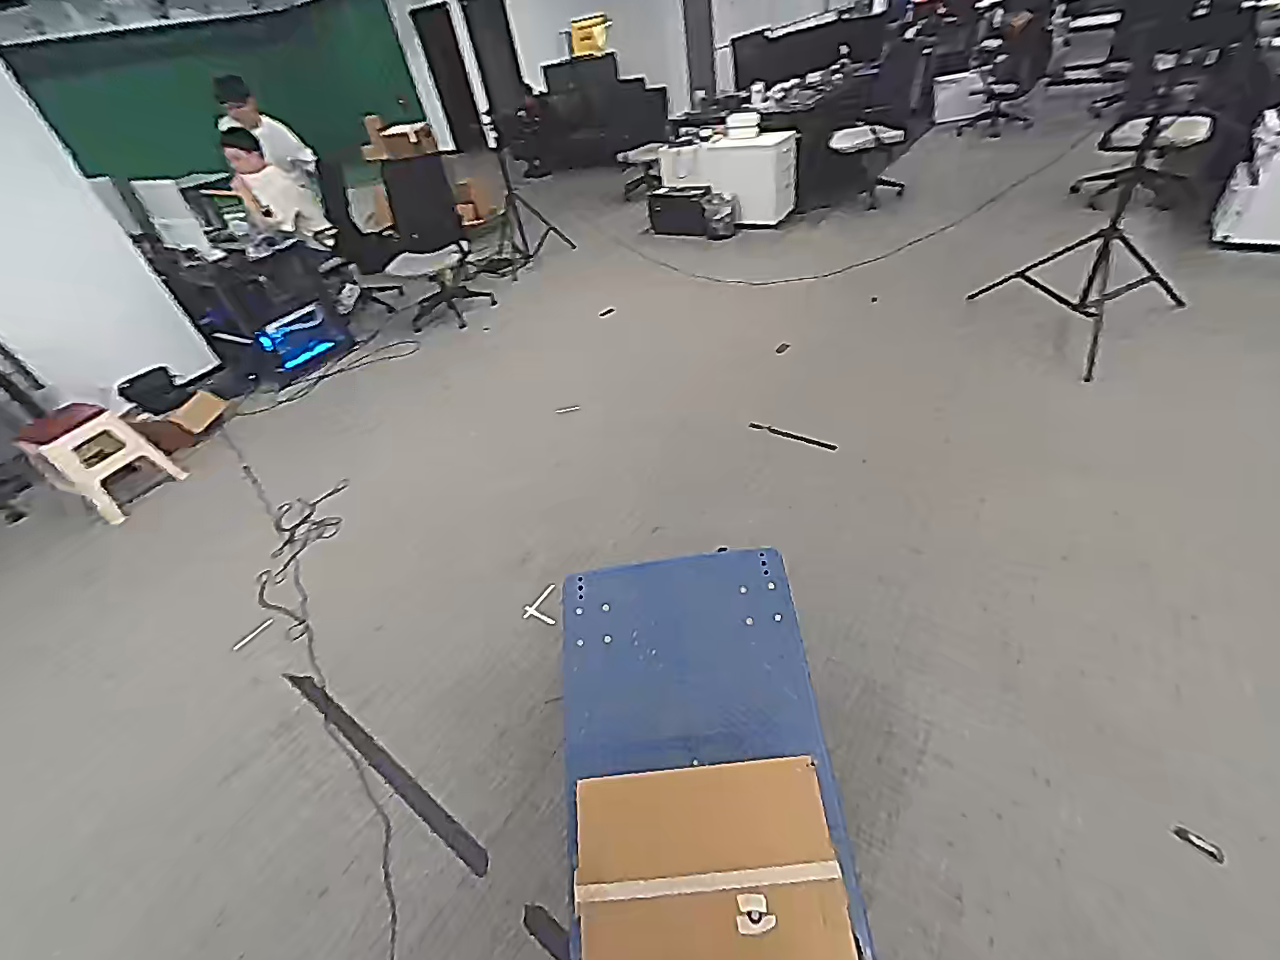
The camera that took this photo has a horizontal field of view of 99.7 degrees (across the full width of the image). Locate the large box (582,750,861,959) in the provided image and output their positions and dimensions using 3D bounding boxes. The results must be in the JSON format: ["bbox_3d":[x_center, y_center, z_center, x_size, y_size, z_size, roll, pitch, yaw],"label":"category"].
[{"bbox_3d":[0.128,0.699,0.983,0.408,0.320,0.320,-9,60,3],"label":"large box"}]
